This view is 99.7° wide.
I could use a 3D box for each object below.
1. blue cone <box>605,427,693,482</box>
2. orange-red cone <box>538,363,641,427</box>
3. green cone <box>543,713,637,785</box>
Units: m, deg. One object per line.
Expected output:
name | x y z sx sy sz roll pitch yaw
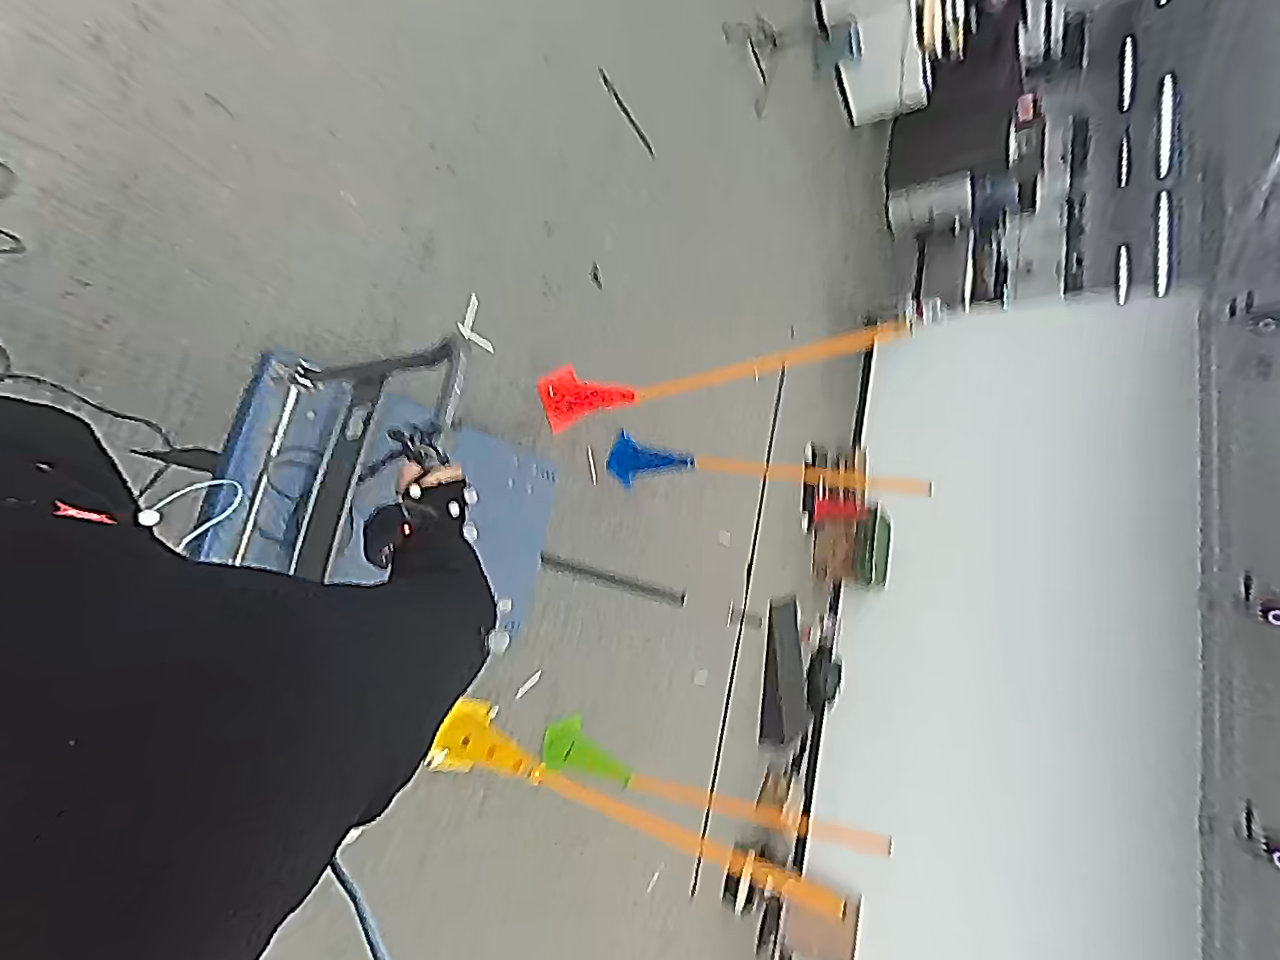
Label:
blue cone | 0.057 -0.100 2.234 0.192 0.380 0.193 48 56 -44
orange-red cone | -0.151 -0.304 1.899 0.198 0.360 0.199 -40 126 -44
green cone | -0.161 1.040 2.011 0.202 0.368 0.200 6 88 -53
